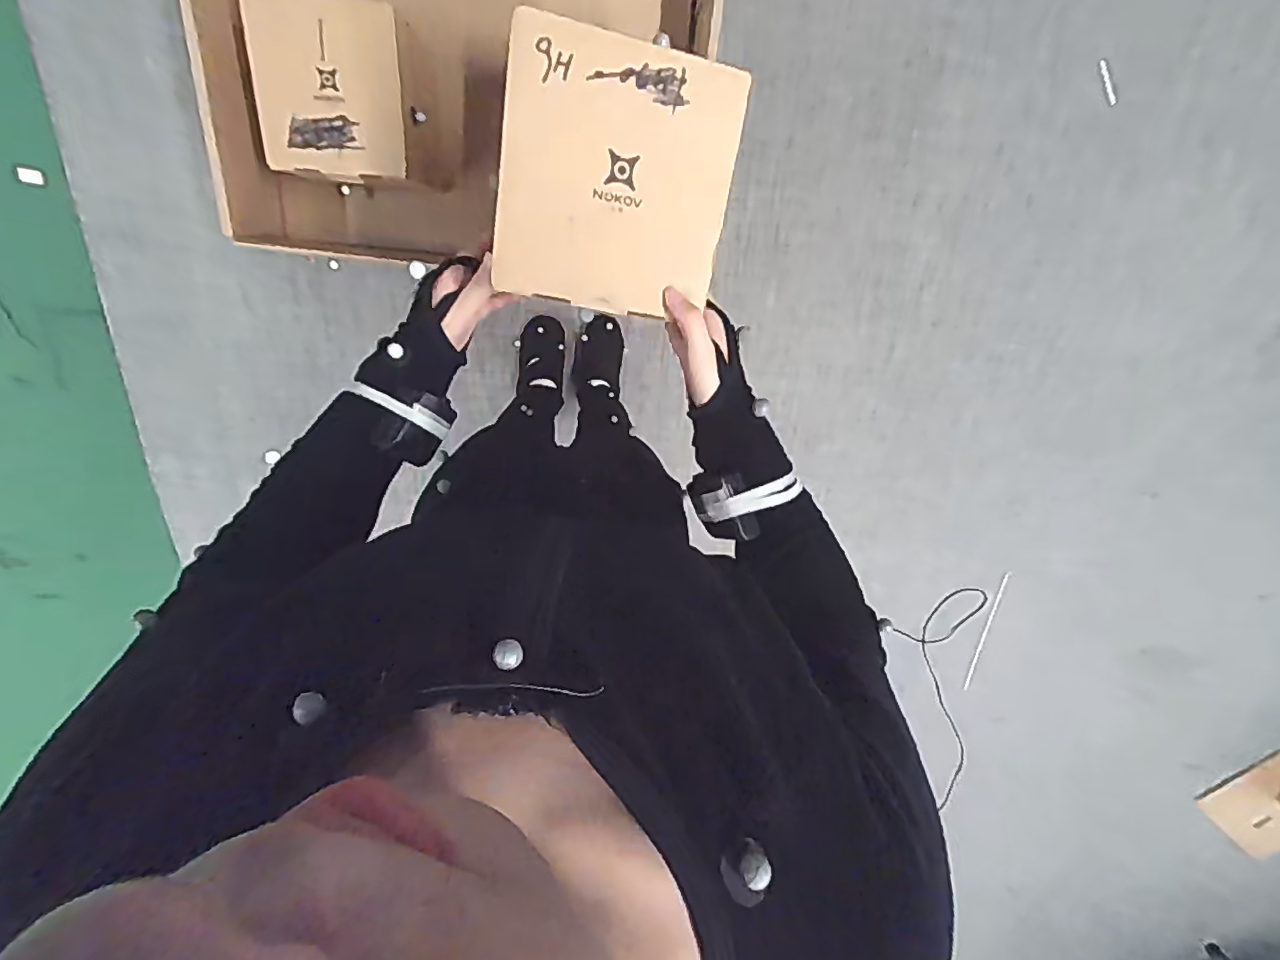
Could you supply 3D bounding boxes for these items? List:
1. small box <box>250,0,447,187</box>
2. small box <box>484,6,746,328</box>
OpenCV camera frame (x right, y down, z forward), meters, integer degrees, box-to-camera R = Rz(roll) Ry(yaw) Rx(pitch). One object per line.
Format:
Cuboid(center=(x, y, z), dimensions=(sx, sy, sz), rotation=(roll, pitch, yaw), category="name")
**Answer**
Cuboid(center=(-0.359, -0.492, 0.706), dimensions=(0.168, 0.176, 0.179), rotation=(2, 112, -4), category="small box")
Cuboid(center=(-0.032, -0.241, 0.461), dimensions=(0.168, 0.176, 0.179), rotation=(7, 110, -13), category="small box")
